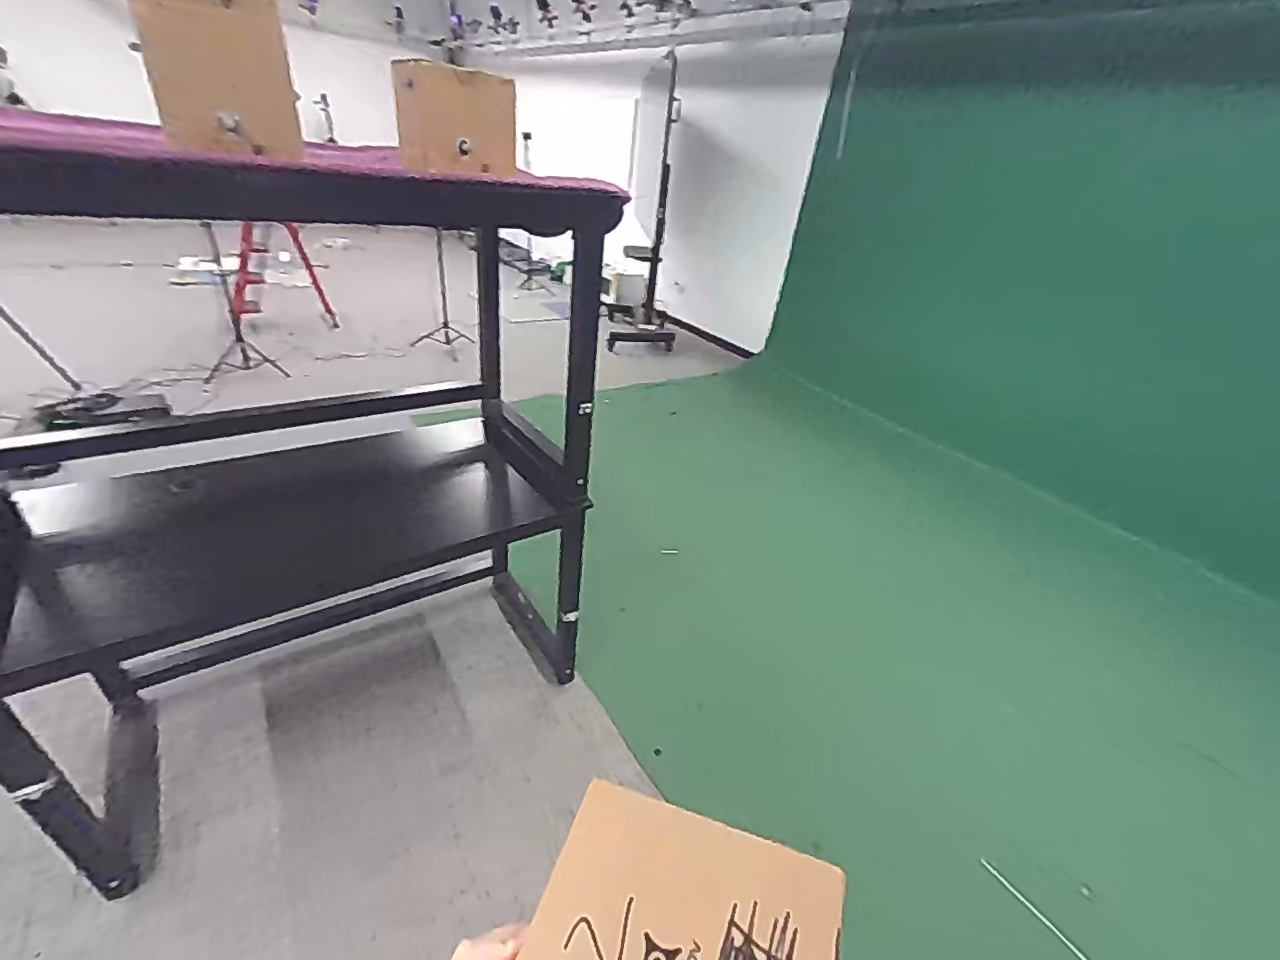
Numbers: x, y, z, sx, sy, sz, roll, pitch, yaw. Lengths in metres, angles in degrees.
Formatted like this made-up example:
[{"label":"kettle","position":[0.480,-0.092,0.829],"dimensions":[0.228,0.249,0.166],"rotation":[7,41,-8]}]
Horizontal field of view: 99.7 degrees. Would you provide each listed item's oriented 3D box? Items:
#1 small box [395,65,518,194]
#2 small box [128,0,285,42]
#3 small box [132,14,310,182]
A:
[{"label":"small box","position":[-0.331,-0.629,0.978],"dimensions":[0.168,0.176,0.179],"rotation":[-15,39,-31]},{"label":"small box","position":[-0.590,-0.693,0.714],"dimensions":[0.168,0.176,0.179],"rotation":[-15,39,-32]},{"label":"small box","position":[-0.603,-0.549,0.793],"dimensions":[0.168,0.176,0.179],"rotation":[-16,39,-32]}]
